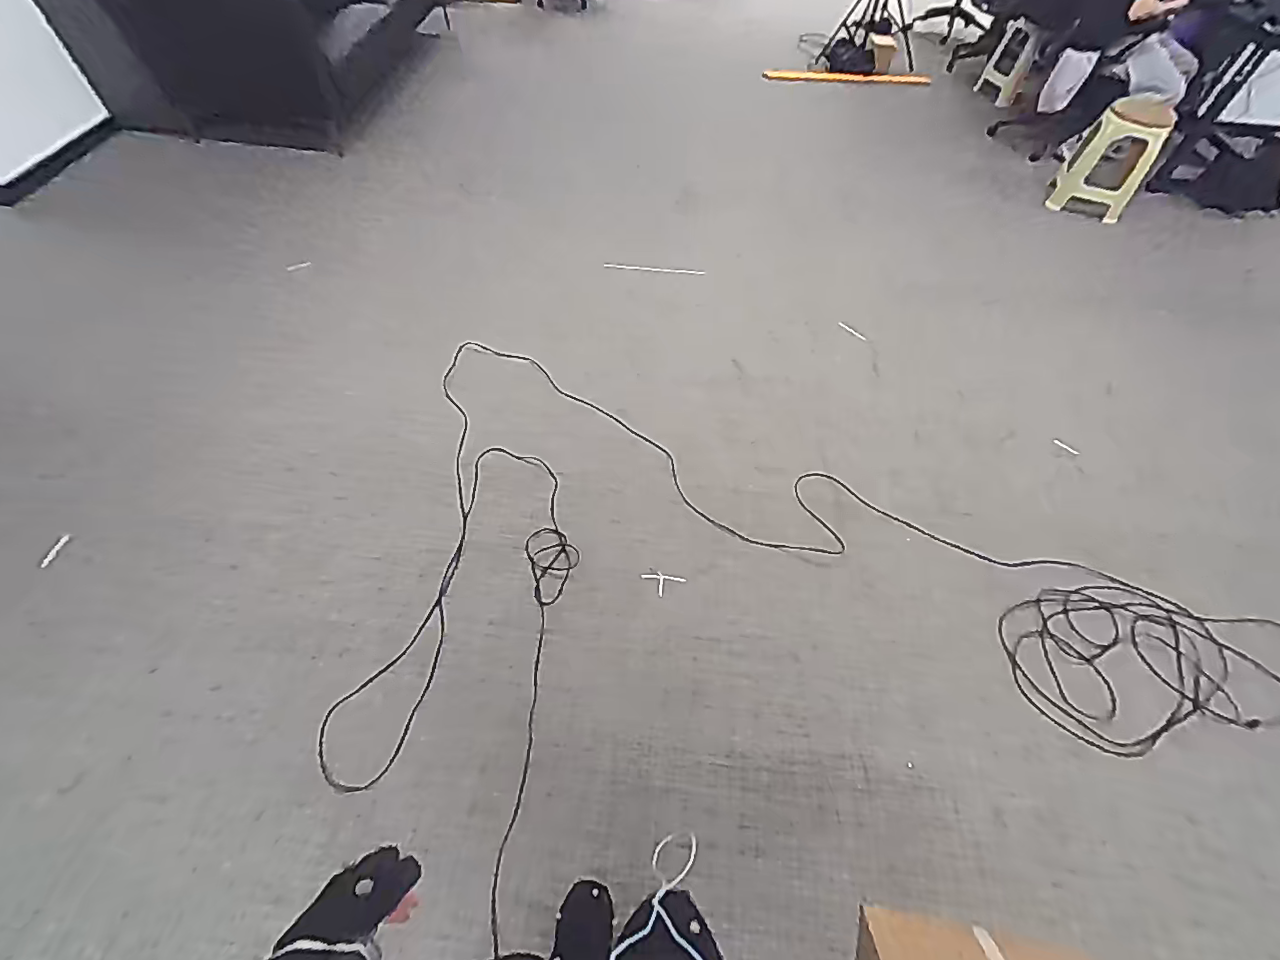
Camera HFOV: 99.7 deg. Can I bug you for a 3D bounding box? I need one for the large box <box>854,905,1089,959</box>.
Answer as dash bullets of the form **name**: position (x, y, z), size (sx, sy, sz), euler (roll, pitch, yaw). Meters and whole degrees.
- **large box**: position (0.427, 0.783, 0.573), size (0.320, 0.408, 0.320), euler (9, 89, 7)
